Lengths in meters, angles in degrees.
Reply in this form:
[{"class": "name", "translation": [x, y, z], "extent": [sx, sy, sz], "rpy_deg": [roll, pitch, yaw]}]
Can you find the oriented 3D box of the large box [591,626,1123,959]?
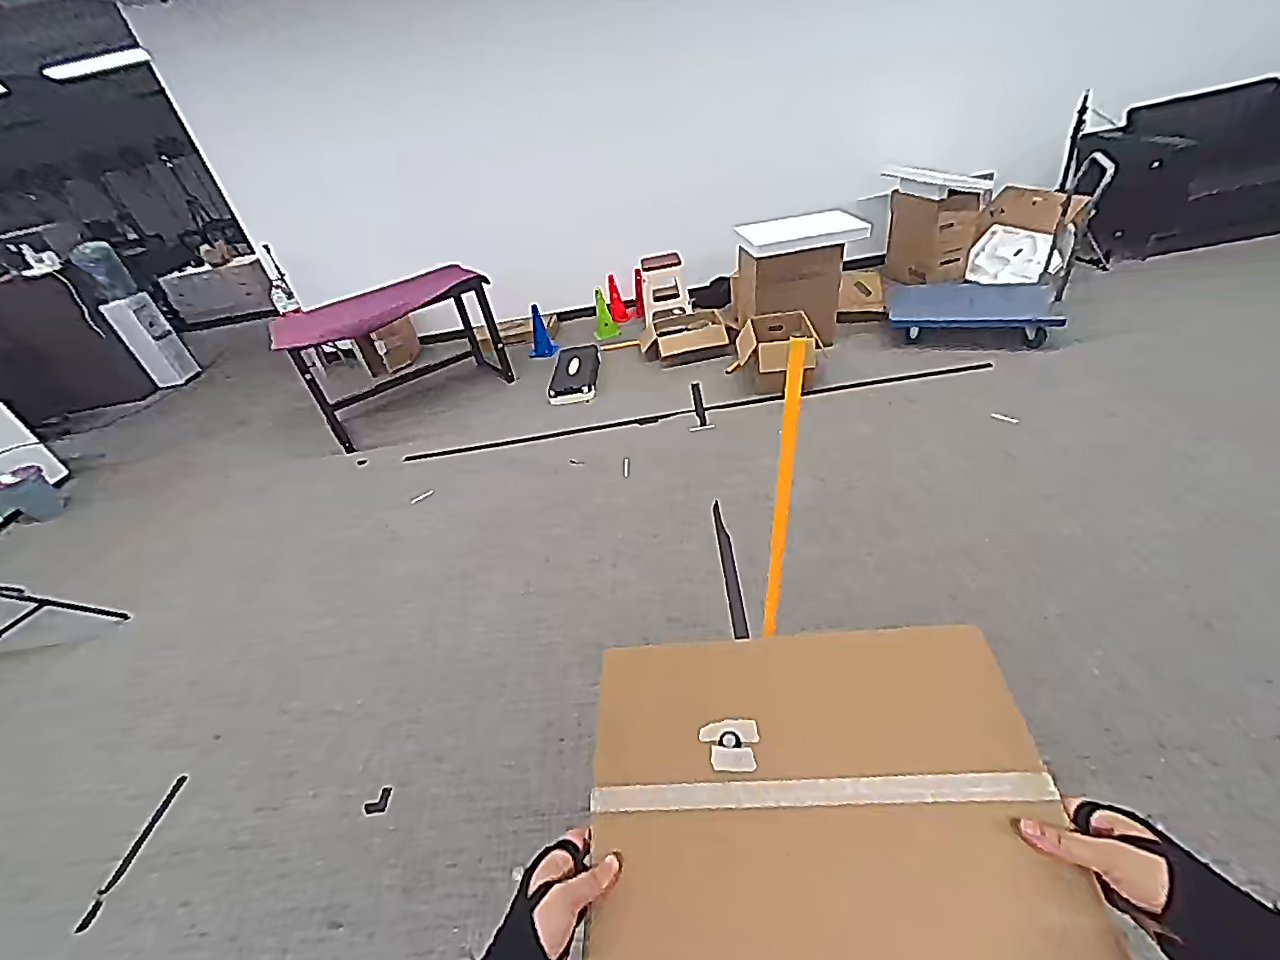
[{"class": "large box", "translation": [0.188, 0.395, 0.601], "extent": [0.408, 0.320, 0.320], "rpy_deg": [-9, 43, 10]}]
